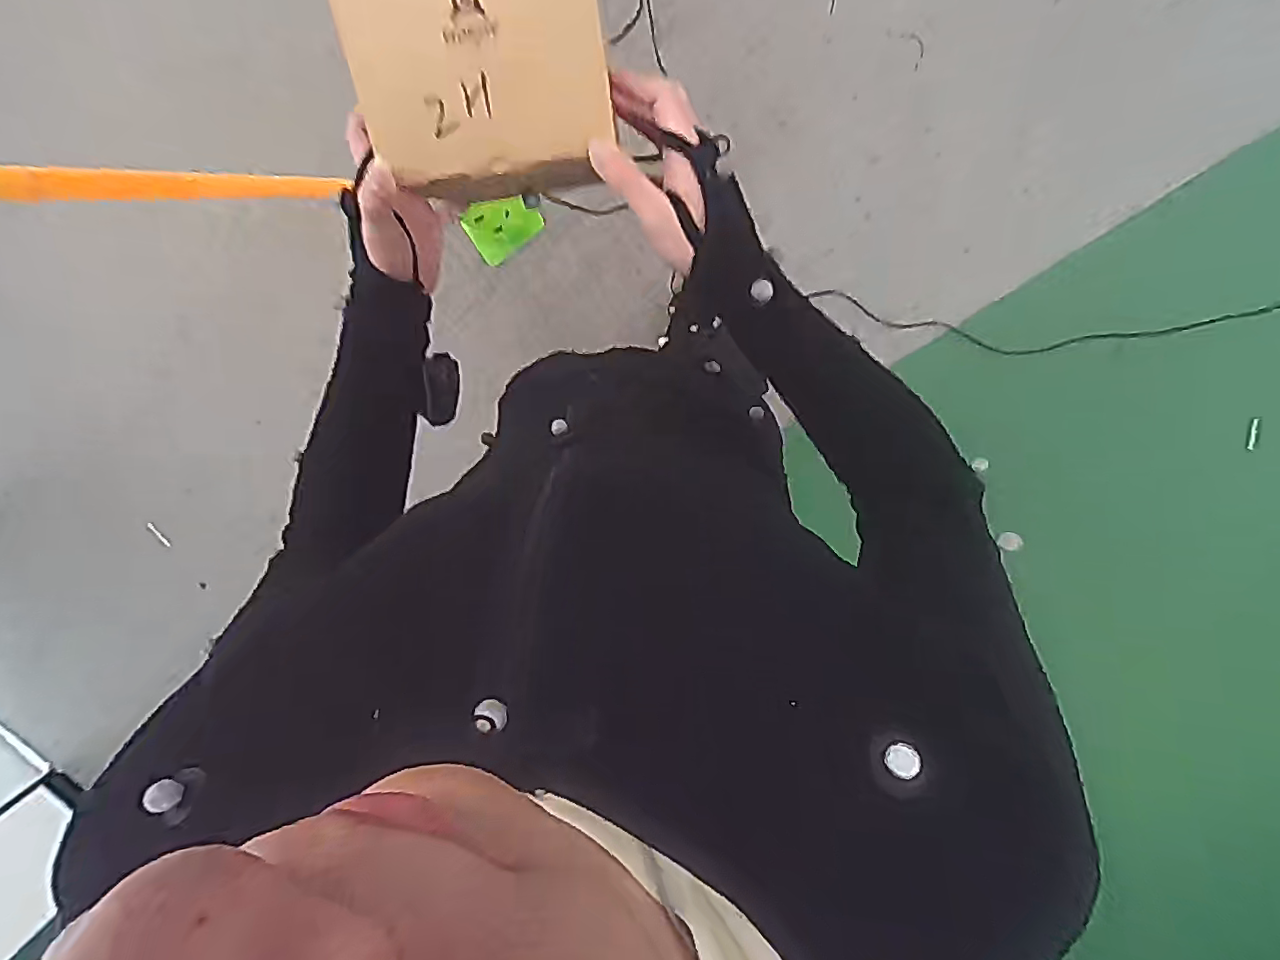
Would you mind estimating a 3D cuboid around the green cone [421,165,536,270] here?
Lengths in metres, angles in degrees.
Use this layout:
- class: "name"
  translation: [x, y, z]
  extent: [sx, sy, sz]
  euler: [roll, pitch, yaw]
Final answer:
- class: "green cone"
  translation: [-0.417, -0.644, 1.279]
  extent: [0.202, 0.368, 0.200]
  euler: [-32, 103, 14]
